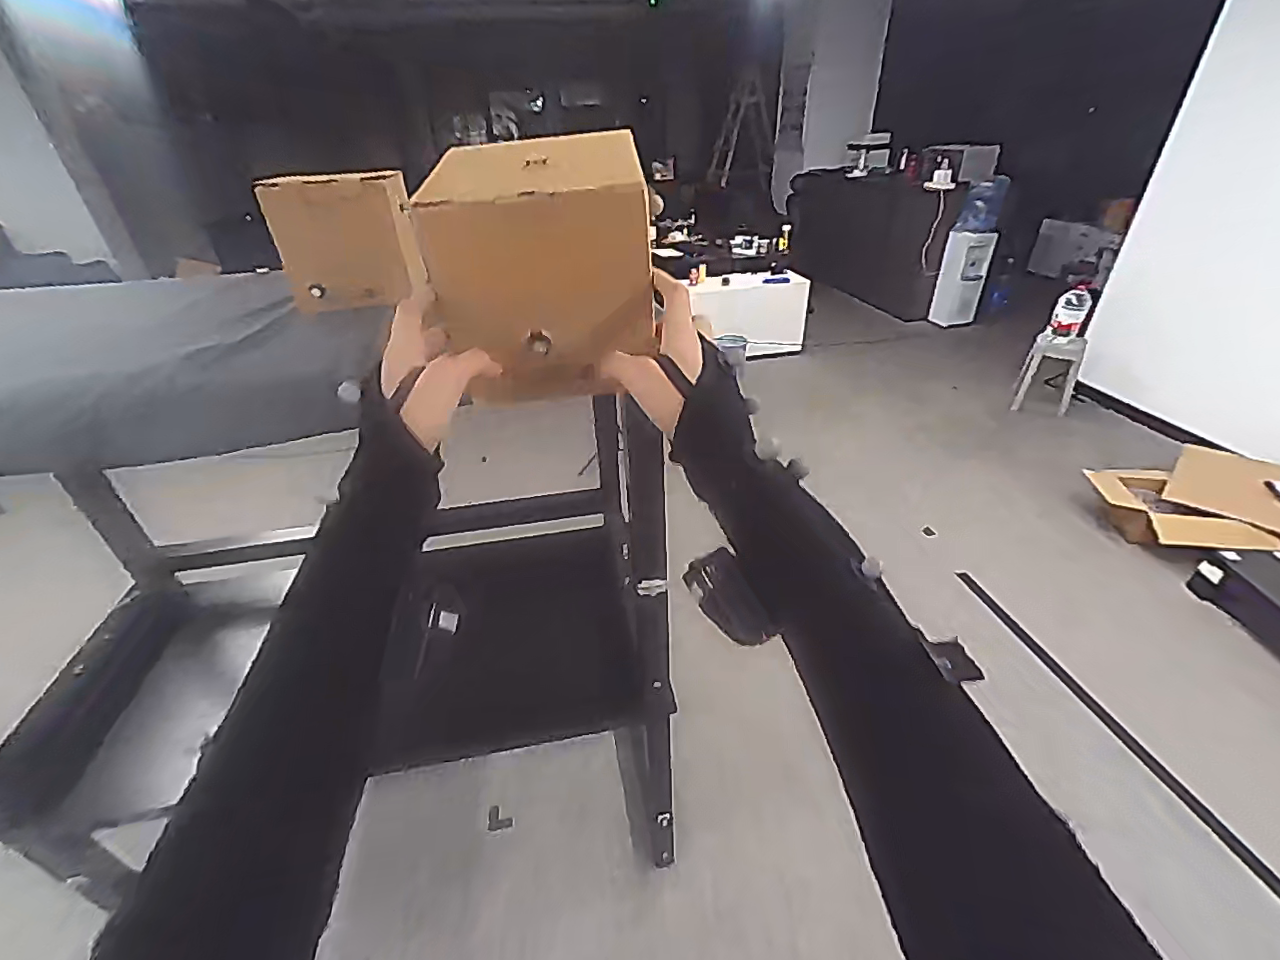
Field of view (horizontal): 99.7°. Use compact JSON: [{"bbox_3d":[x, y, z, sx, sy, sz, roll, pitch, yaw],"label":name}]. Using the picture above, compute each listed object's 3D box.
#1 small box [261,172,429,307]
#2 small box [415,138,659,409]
[{"bbox_3d":[-0.437,-0.371,0.837,0.168,0.176,0.179,-9,33,-10],"label":"small box"},{"bbox_3d":[-0.074,-0.184,0.482,0.168,0.176,0.179,-6,44,-1],"label":"small box"}]
